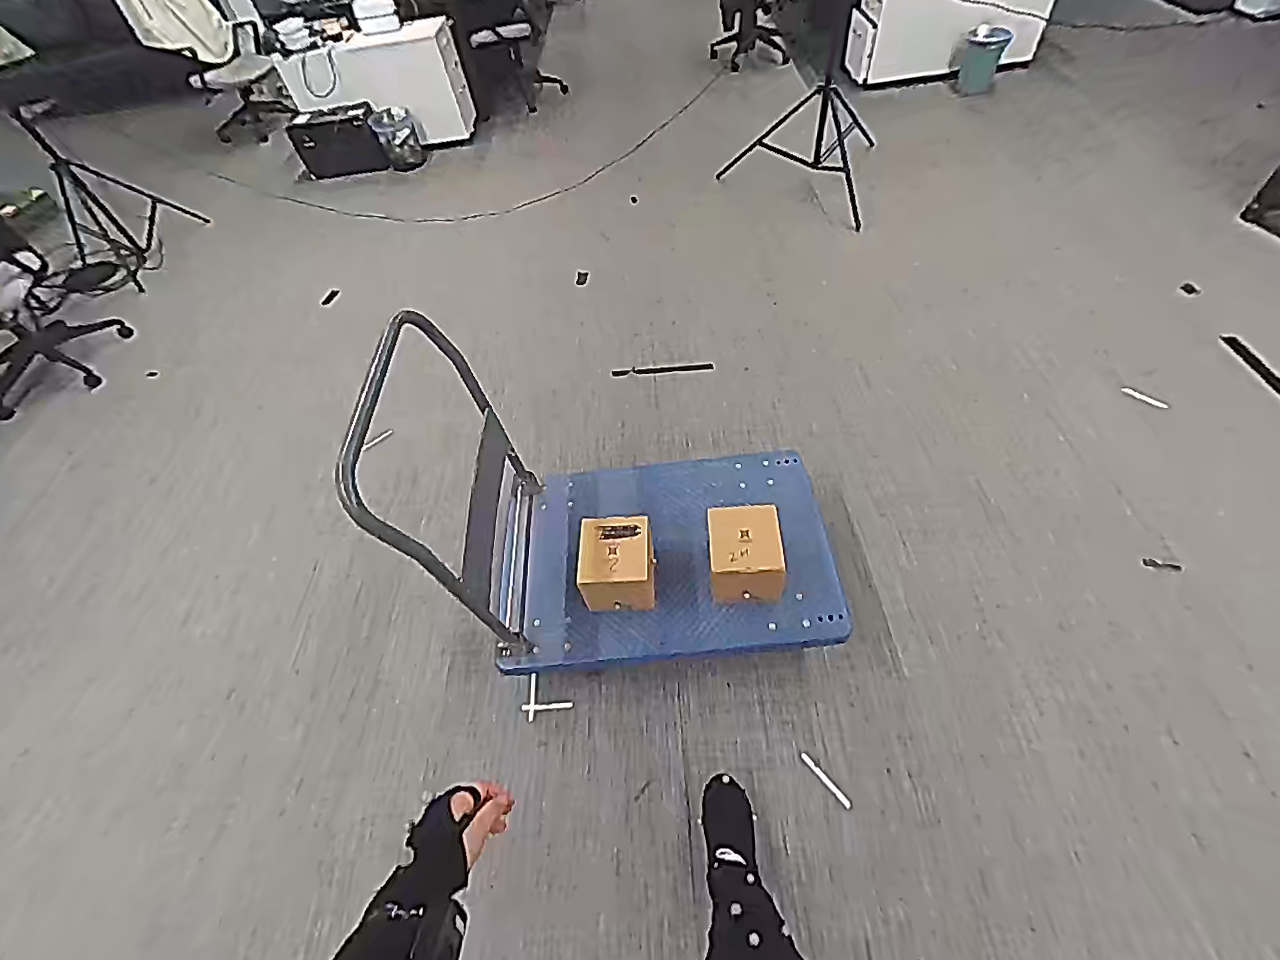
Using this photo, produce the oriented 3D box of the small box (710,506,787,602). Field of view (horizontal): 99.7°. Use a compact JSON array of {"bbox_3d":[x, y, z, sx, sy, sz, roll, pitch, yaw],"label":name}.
[{"bbox_3d":[0.256,0.182,1.319,0.168,0.176,0.179,-4,53,6],"label":"small box"}]
